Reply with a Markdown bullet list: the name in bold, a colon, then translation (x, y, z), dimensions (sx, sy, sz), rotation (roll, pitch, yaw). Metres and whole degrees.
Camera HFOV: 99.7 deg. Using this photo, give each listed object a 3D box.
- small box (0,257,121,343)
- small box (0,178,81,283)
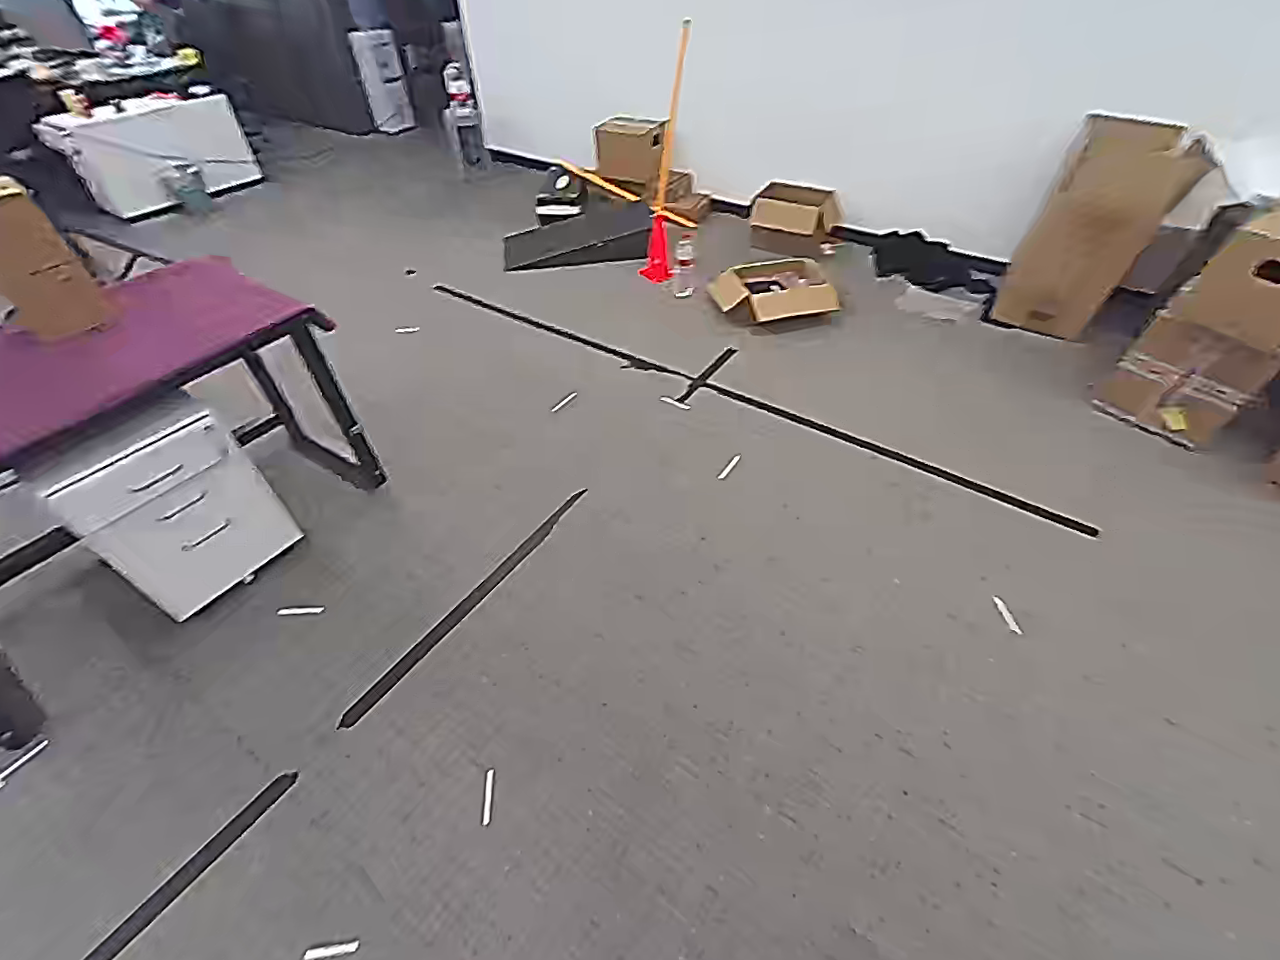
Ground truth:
- **small box**: translation (-1.552, -0.497, 1.444), dimensions (0.168, 0.176, 0.179), rotation (29, 54, 25)
- **small box**: translation (-1.555, -0.609, 1.325), dimensions (0.168, 0.176, 0.179), rotation (31, 55, 25)
